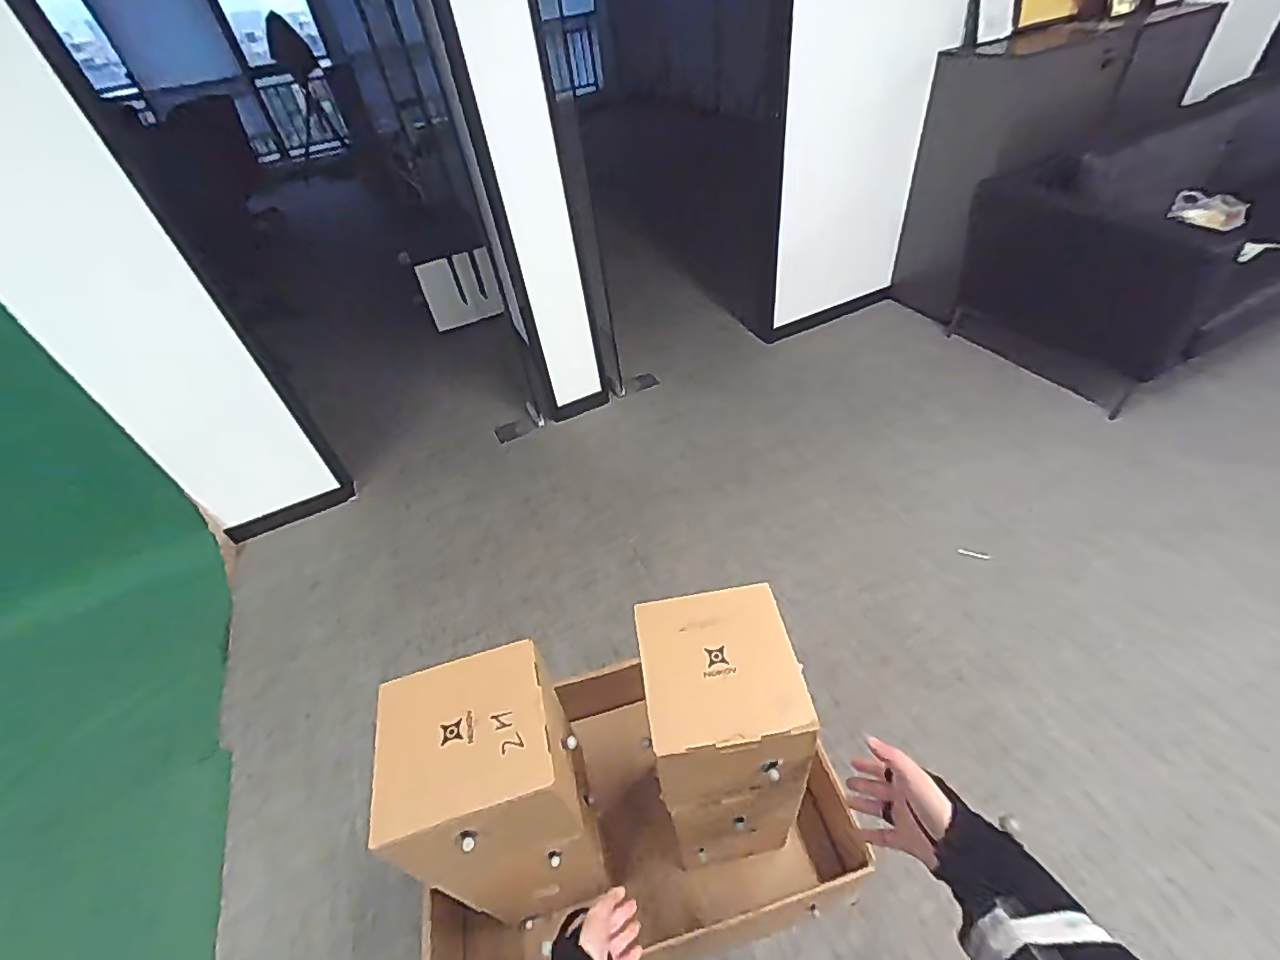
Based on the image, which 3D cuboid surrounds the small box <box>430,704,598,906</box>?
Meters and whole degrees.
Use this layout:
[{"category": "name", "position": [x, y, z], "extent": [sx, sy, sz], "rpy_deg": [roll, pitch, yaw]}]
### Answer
[{"category": "small box", "position": [-0.165, 0.436, 0.725], "extent": [0.179, 0.176, 0.168], "rpy_deg": [-14, 44, -8]}]

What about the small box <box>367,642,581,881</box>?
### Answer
[{"category": "small box", "position": [-0.177, 0.318, 0.610], "extent": [0.179, 0.176, 0.168], "rpy_deg": [-14, 44, -8]}]

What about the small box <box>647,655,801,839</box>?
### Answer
[{"category": "small box", "position": [0.109, 0.373, 0.747], "extent": [0.168, 0.176, 0.179], "rpy_deg": [-10, 44, -2]}]
